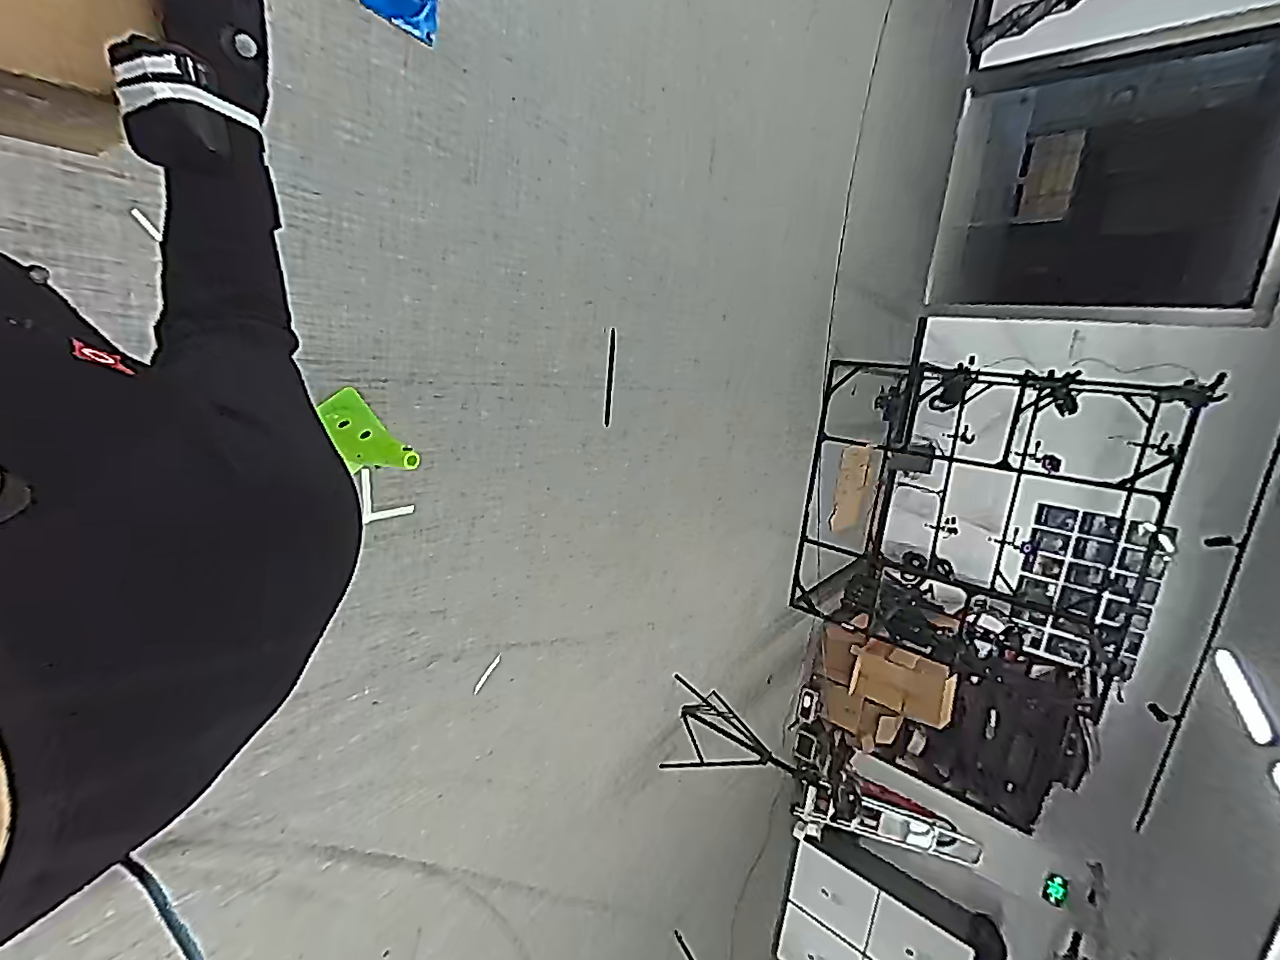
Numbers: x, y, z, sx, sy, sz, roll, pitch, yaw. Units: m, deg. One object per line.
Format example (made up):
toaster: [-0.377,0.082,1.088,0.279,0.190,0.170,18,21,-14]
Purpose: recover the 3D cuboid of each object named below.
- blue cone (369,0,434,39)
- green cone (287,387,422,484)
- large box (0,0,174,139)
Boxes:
blue cone: [-0.459,-1.190,1.226,0.192,0.380,0.193,-5,107,-53]
green cone: [-0.660,-0.082,1.336,0.202,0.368,0.200,-52,139,-30]
large box: [-0.567,-0.429,0.289,0.408,0.320,0.320,-14,117,-51]
